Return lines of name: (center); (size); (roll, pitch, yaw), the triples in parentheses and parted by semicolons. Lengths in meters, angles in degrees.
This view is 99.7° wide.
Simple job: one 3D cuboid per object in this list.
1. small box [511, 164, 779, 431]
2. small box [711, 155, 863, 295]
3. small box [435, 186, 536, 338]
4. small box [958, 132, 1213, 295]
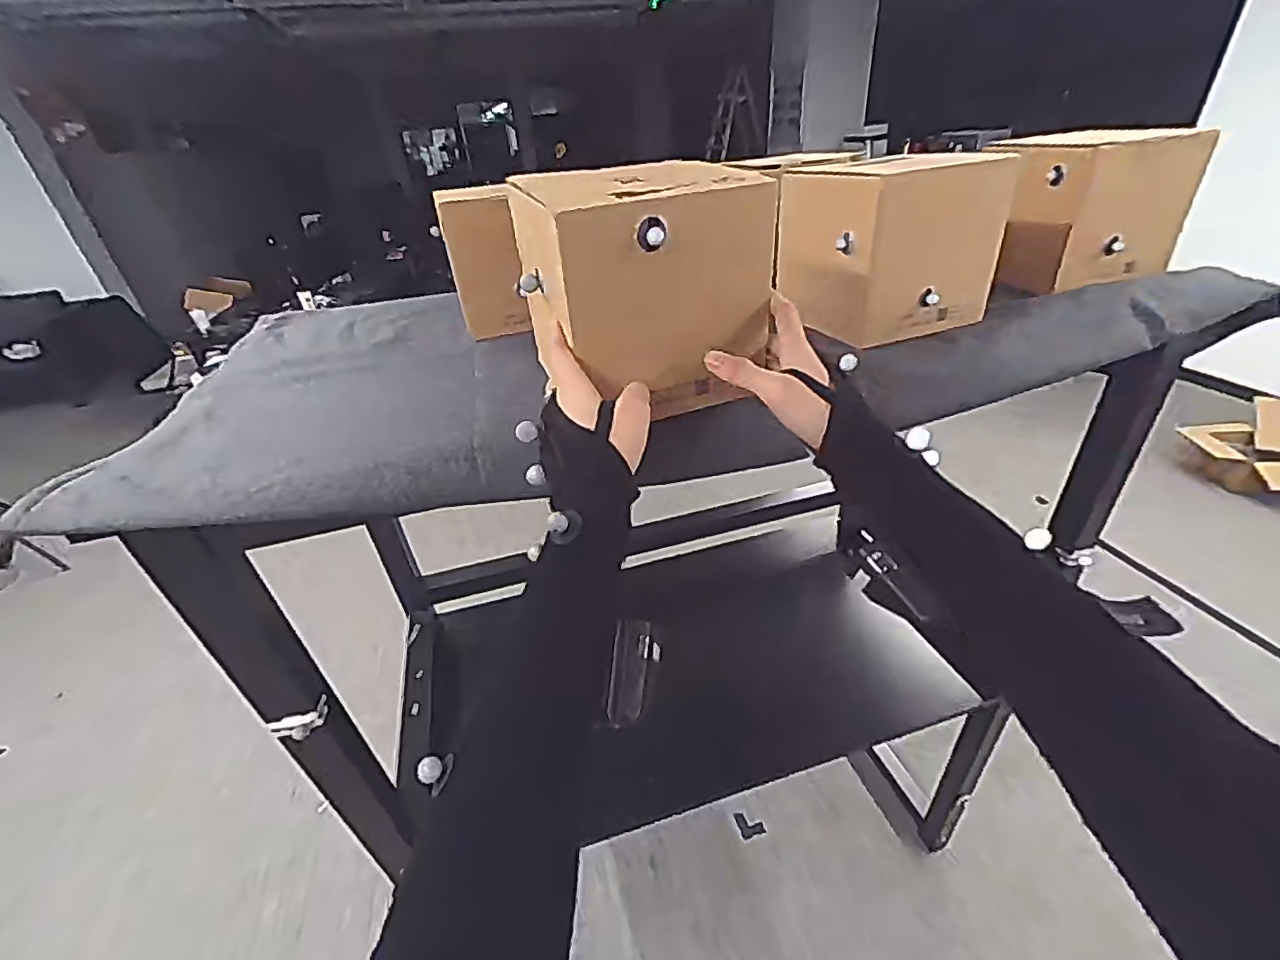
small box: (-0.003, -0.164, 0.467); (0.168, 0.176, 0.179); (-16, 37, -15)
small box: (0.202, -0.377, 0.807); (0.168, 0.176, 0.179); (-14, 33, -13)
small box: (-0.183, -0.313, 0.763); (0.168, 0.176, 0.179); (-15, 35, -14)
small box: (0.563, -0.353, 0.718); (0.168, 0.176, 0.179); (-11, 33, -7)
